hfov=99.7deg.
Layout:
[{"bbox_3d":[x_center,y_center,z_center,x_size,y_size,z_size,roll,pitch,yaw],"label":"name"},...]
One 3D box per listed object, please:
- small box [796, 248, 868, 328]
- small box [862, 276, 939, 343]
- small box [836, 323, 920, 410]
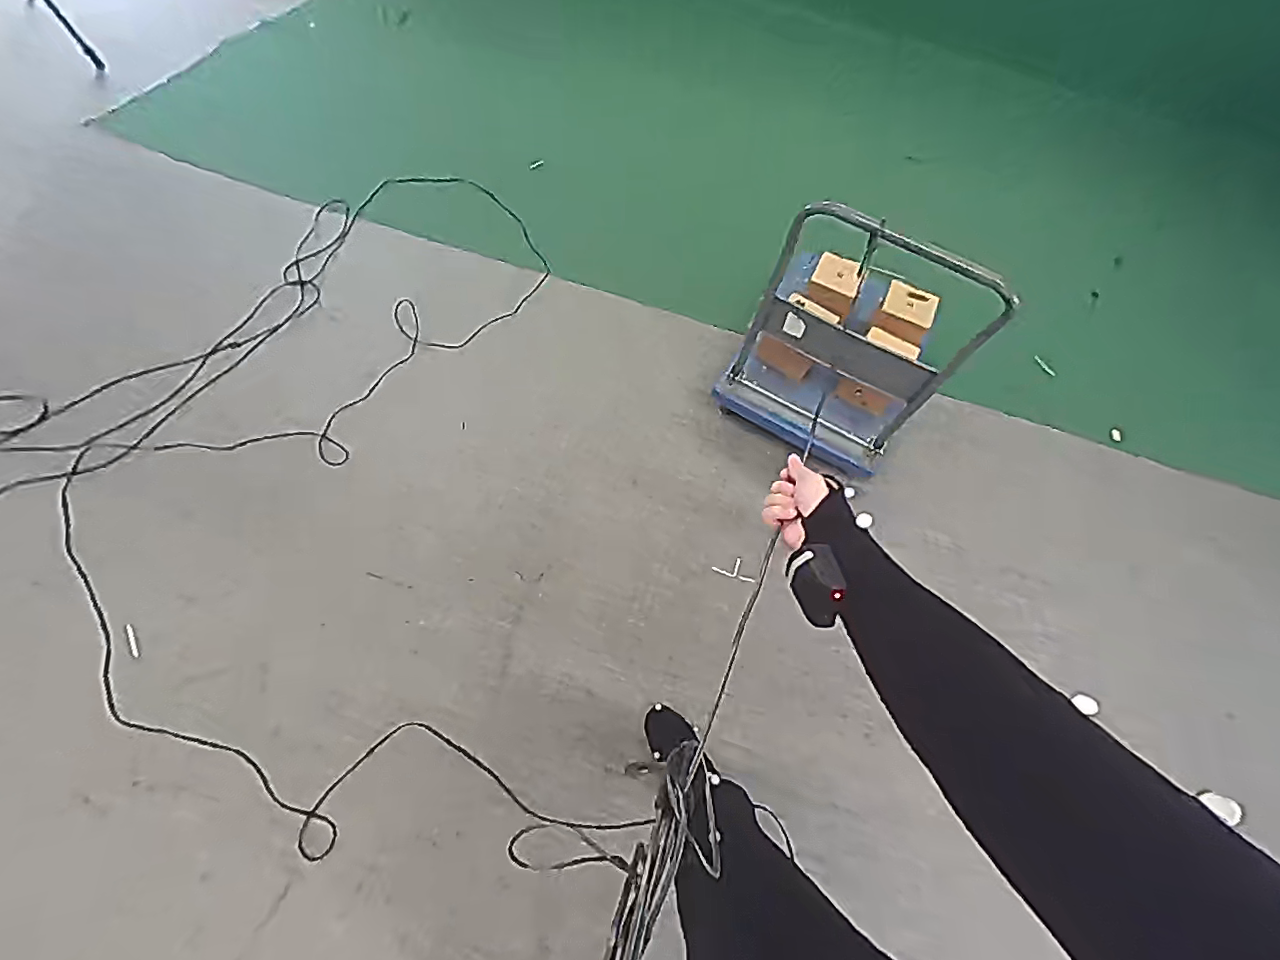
[{"bbox_3d":[0.668,-0.668,1.898,0.168,0.176,0.179,27,61,7],"label":"small box"},{"bbox_3d":[0.893,-0.559,1.864,0.168,0.176,0.179,26,62,8],"label":"small box"},{"bbox_3d":[0.758,-0.361,1.738,0.168,0.176,0.179,30,62,10],"label":"small box"}]
